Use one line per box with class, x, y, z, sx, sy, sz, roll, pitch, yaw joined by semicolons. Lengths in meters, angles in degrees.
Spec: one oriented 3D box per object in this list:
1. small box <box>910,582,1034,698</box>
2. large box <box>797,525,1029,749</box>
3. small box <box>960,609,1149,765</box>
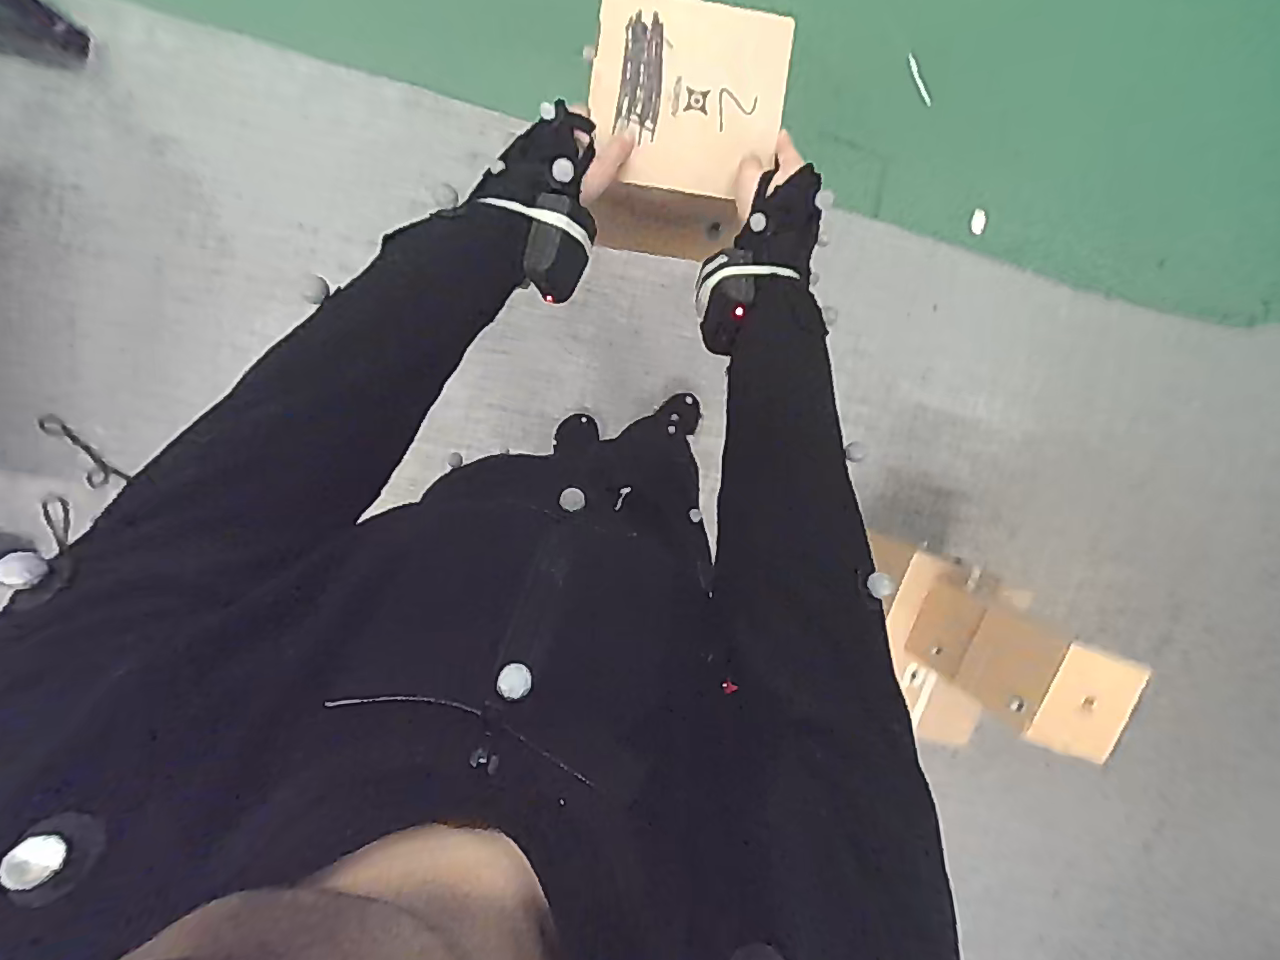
small box;0.687;0.333;1.100;0.168;0.176;0.179;18;95;-10
large box;0.648;0.367;1.346;0.320;0.320;0.408;19;96;-8
small box;0.702;0.348;0.938;0.168;0.176;0.179;20;96;-10
